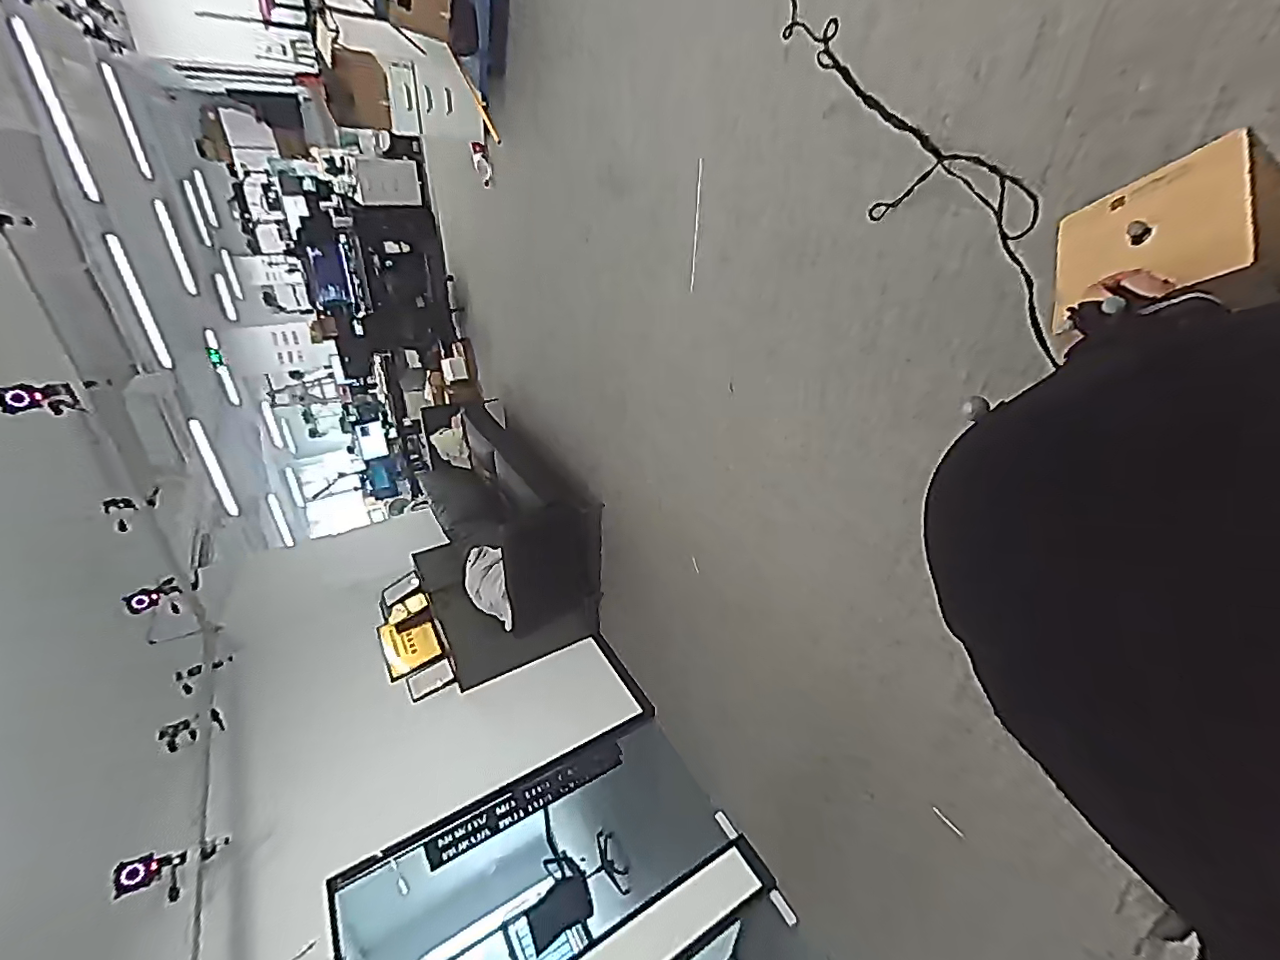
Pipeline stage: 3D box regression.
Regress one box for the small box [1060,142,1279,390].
[{"bbox_3d":[0.610,-0.231,0.604,0.168,0.179,0.176,-19,52,64],"label":"small box"}]
